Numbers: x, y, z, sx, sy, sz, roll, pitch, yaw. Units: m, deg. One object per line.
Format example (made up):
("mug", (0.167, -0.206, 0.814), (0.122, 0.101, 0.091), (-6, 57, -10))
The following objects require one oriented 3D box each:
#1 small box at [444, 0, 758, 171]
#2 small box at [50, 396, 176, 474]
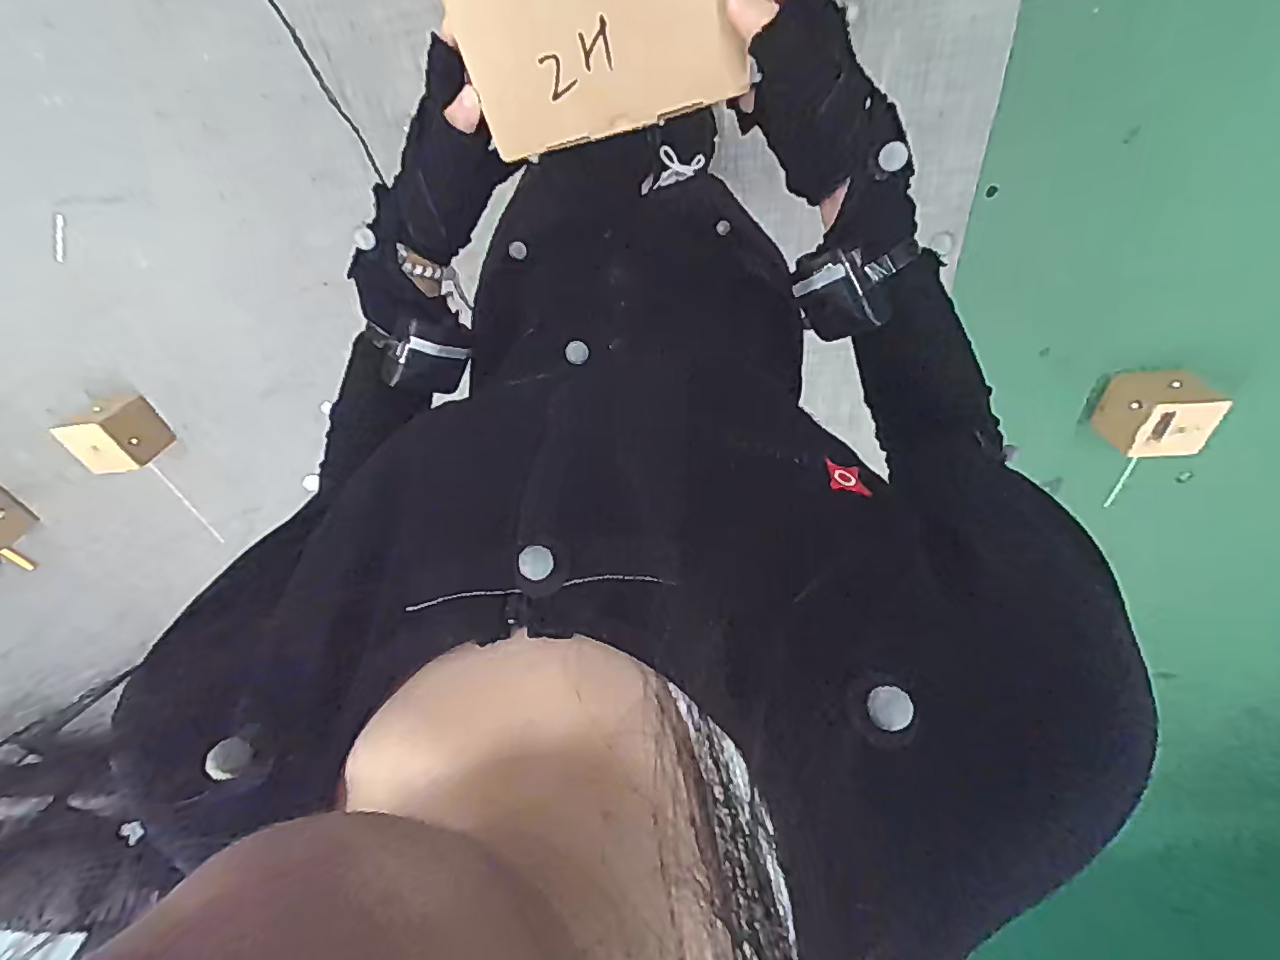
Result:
("small box", (-0.026, -0.326, 0.338), (0.168, 0.176, 0.179), (-9, 132, 10))
("small box", (-1.601, -0.144, 1.656), (0.168, 0.176, 0.179), (-6, 131, 8))
